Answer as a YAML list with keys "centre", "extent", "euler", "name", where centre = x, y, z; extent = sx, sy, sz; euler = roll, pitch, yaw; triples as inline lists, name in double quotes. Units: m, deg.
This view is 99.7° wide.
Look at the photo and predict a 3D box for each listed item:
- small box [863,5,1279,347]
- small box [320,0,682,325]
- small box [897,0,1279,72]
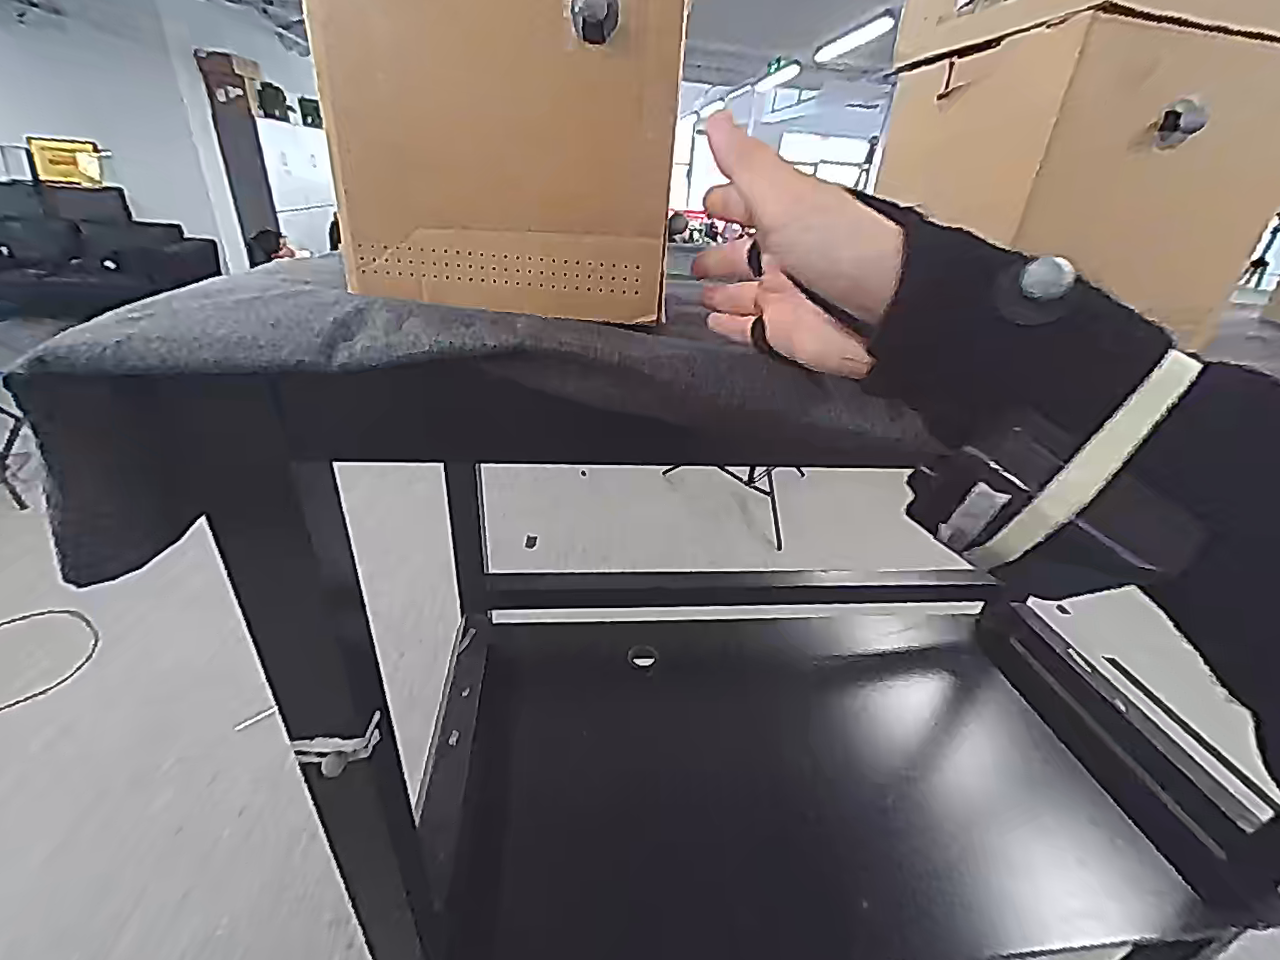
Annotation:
- centre: [0.284, -0.196, 0.387]
  extent: [0.179, 0.176, 0.168]
  euler: [-1, 27, -10]
  name: "small box"
- centre: [-0.068, -0.196, 0.338]
  extent: [0.179, 0.176, 0.168]
  euler: [5, 25, 0]
  name: "small box"
- centre: [0.291, -0.344, 0.322]
  extent: [0.179, 0.176, 0.168]
  euler: [-4, 27, -14]
  name: "small box"
